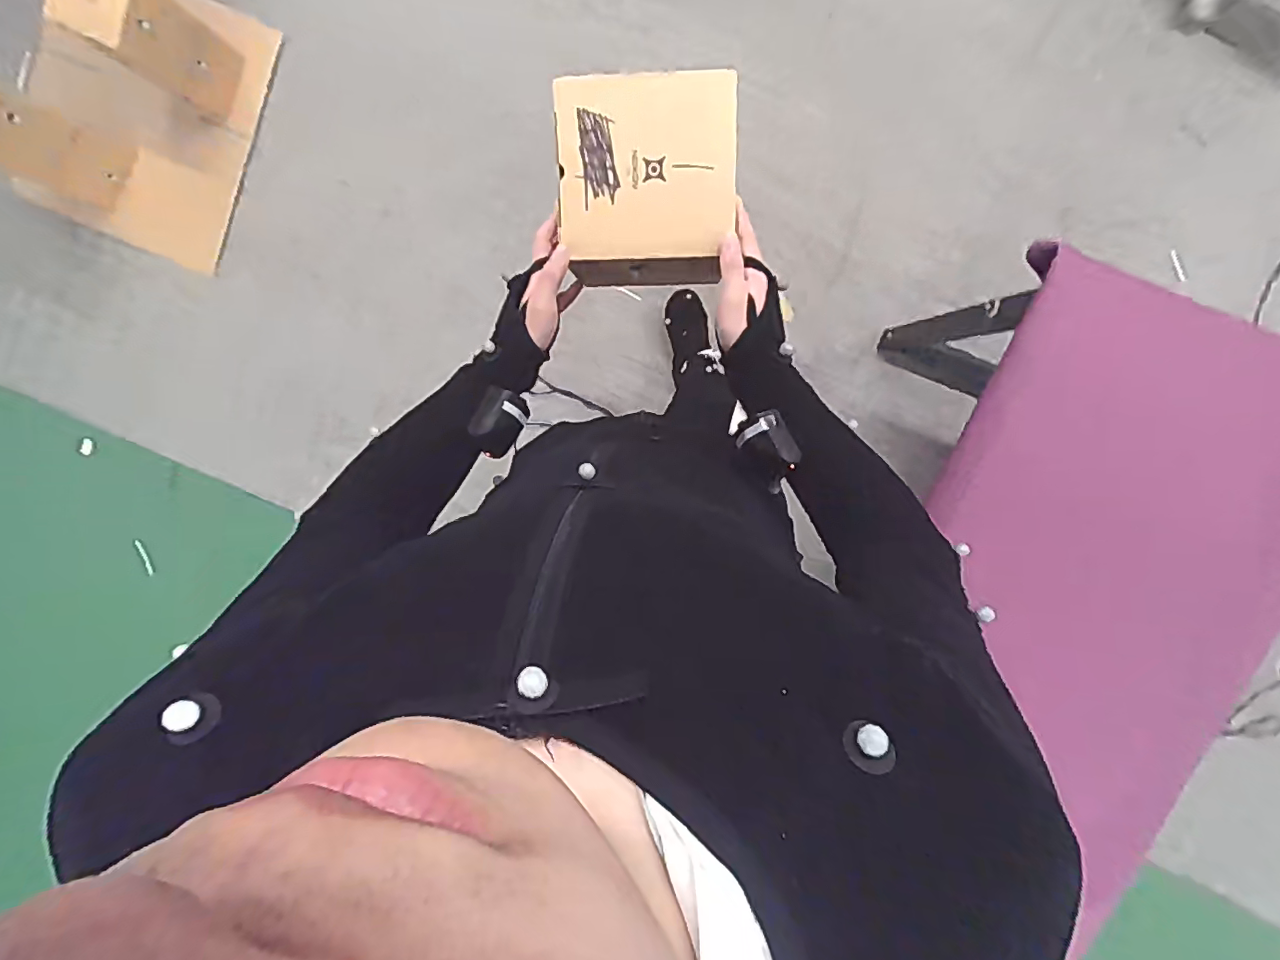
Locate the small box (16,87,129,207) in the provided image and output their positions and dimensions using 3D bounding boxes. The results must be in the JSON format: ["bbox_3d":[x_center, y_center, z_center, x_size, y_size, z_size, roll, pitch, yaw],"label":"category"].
[{"bbox_3d":[-1.514,-0.864,1.421,0.168,0.176,0.179,32,98,-4],"label":"small box"}]

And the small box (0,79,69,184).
[{"bbox_3d":[-1.509,-0.838,1.257,0.168,0.176,0.179,32,98,-4],"label":"small box"}]

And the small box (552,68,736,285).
[{"bbox_3d":[0.008,-0.316,0.599,0.179,0.176,0.168,-1,101,2],"label":"small box"}]

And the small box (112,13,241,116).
[{"bbox_3d":[-1.175,-1.082,1.384,0.168,0.176,0.179,25,99,-3],"label":"small box"}]

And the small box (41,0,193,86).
[{"bbox_3d":[-1.171,-1.054,1.225,0.168,0.176,0.179,24,100,-4],"label":"small box"}]
